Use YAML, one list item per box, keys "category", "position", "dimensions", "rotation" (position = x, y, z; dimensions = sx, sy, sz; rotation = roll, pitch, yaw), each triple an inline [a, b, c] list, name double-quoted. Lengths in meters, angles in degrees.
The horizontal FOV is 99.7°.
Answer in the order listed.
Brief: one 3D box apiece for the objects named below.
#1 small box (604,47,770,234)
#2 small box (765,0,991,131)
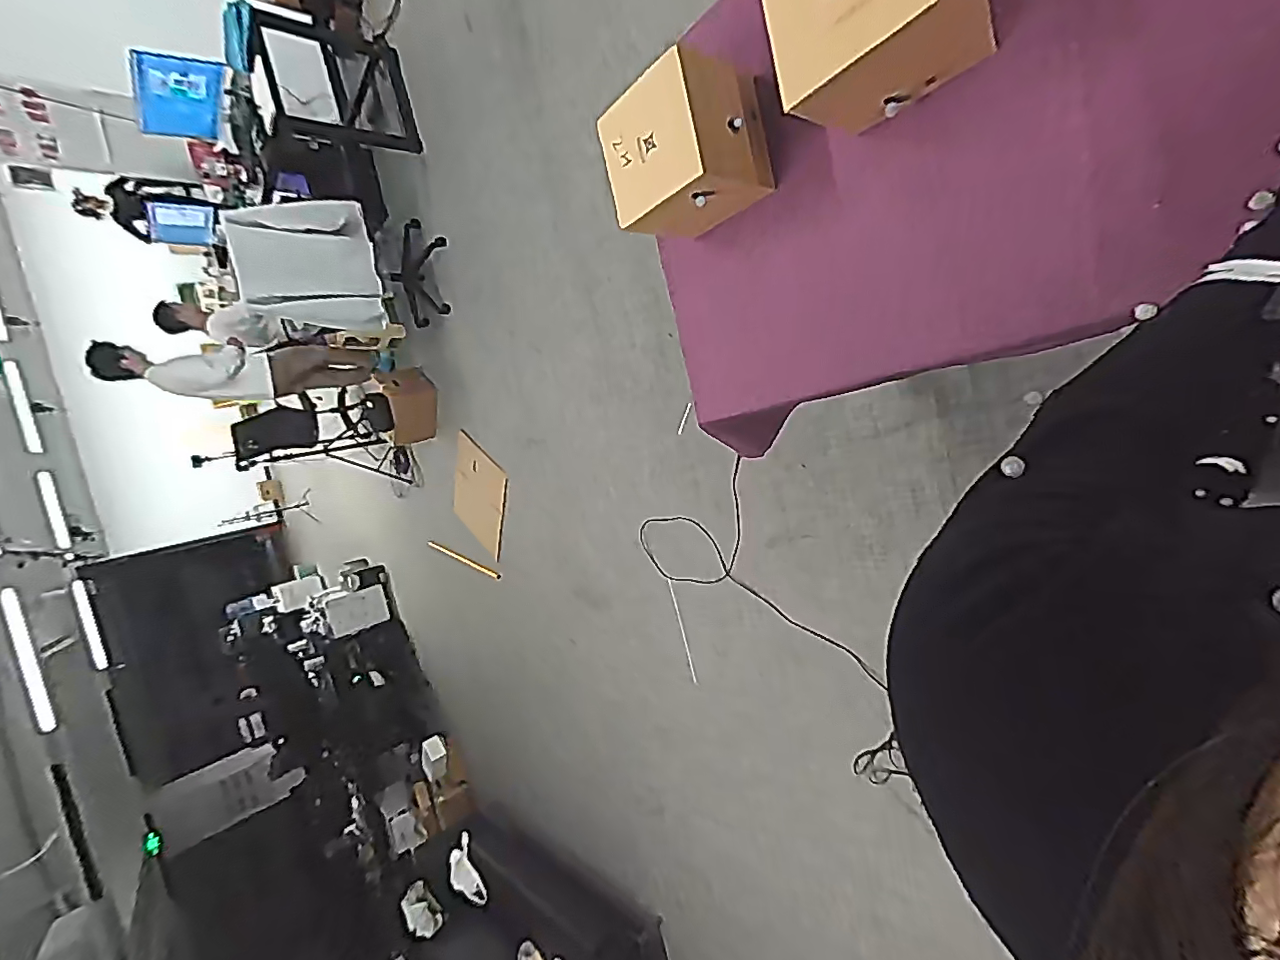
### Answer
- category: "small box"
  position: [0.077, -0.492, 0.816]
  dimensions: [0.179, 0.176, 0.168]
  rotation: [-7, 97, 50]
- category: "small box"
  position: [0.259, -0.527, 0.596]
  dimensions: [0.168, 0.176, 0.179]
  rotation: [-7, 98, 51]
